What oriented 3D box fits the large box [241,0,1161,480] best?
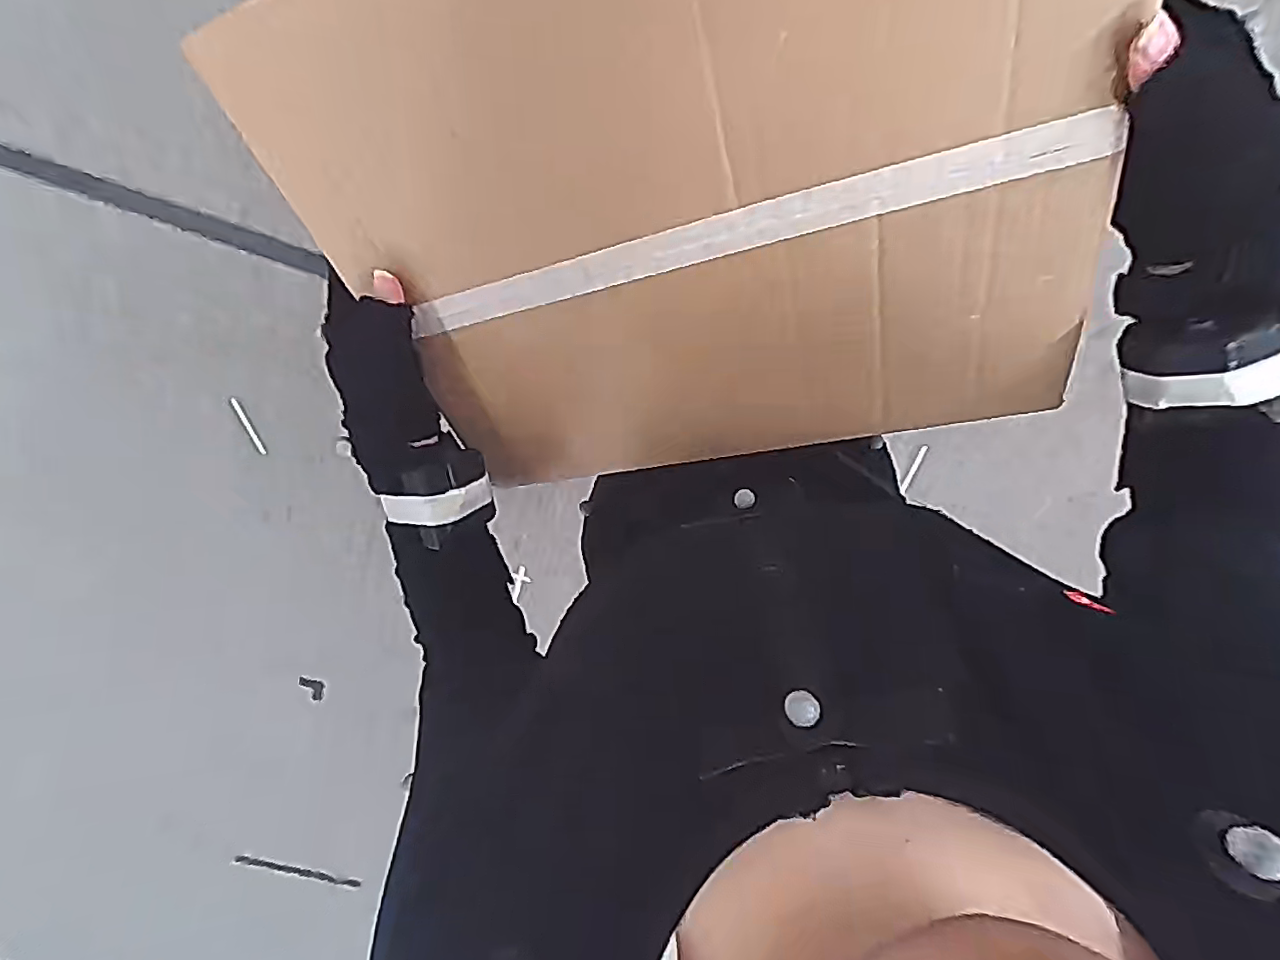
[{"bbox_3d":[0.048,-0.235,0.408,0.408,0.320,0.320,-7,133,17],"label":"large box"}]
